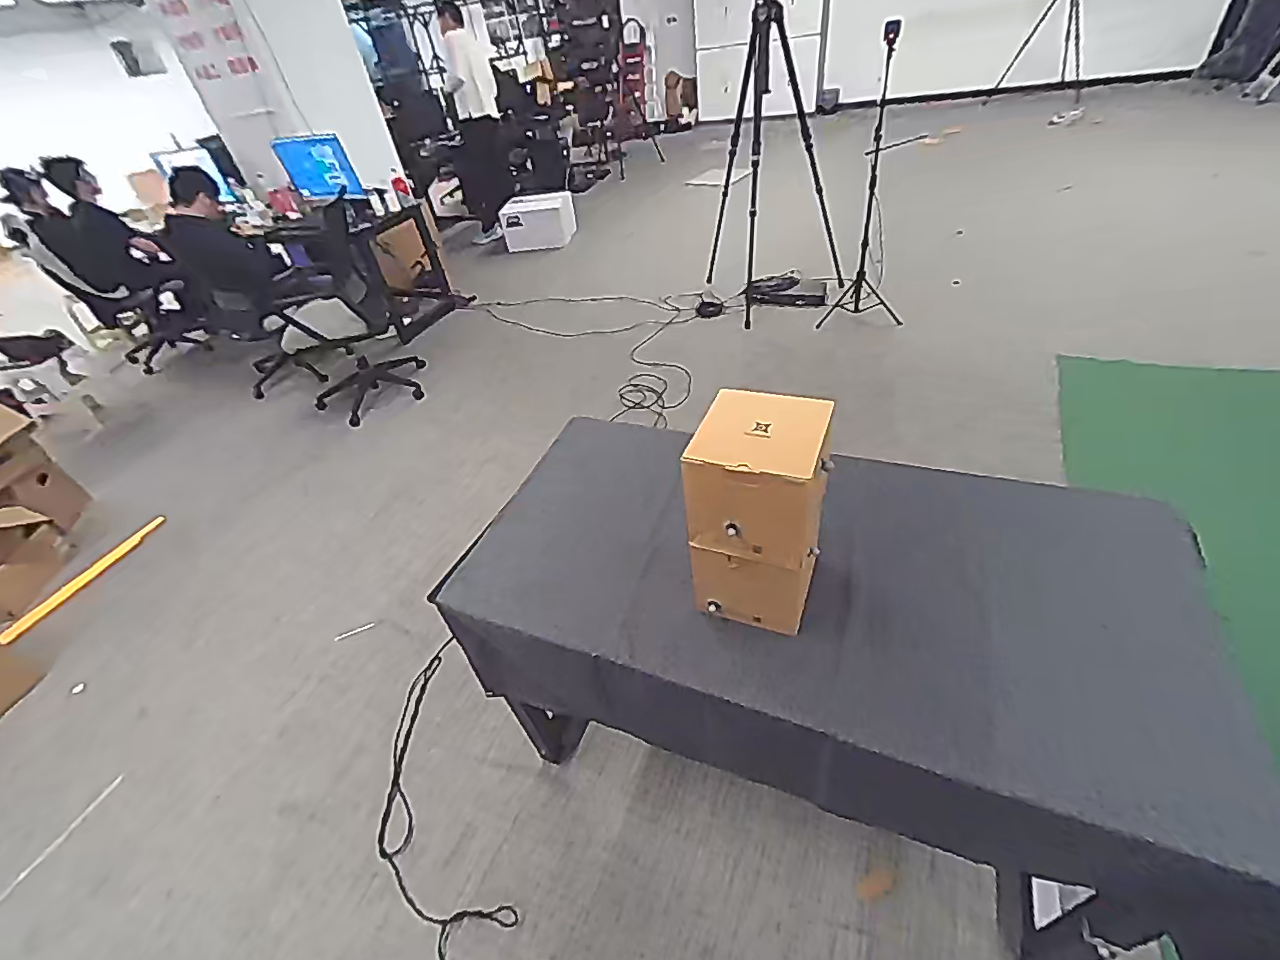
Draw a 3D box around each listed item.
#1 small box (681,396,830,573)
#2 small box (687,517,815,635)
[{"bbox_3d":[0.168,0.002,0.781,0.168,0.176,0.179,10,44,23],"label":"small box"},{"bbox_3d":[0.189,0.125,0.886,0.168,0.176,0.179,10,43,23],"label":"small box"}]
